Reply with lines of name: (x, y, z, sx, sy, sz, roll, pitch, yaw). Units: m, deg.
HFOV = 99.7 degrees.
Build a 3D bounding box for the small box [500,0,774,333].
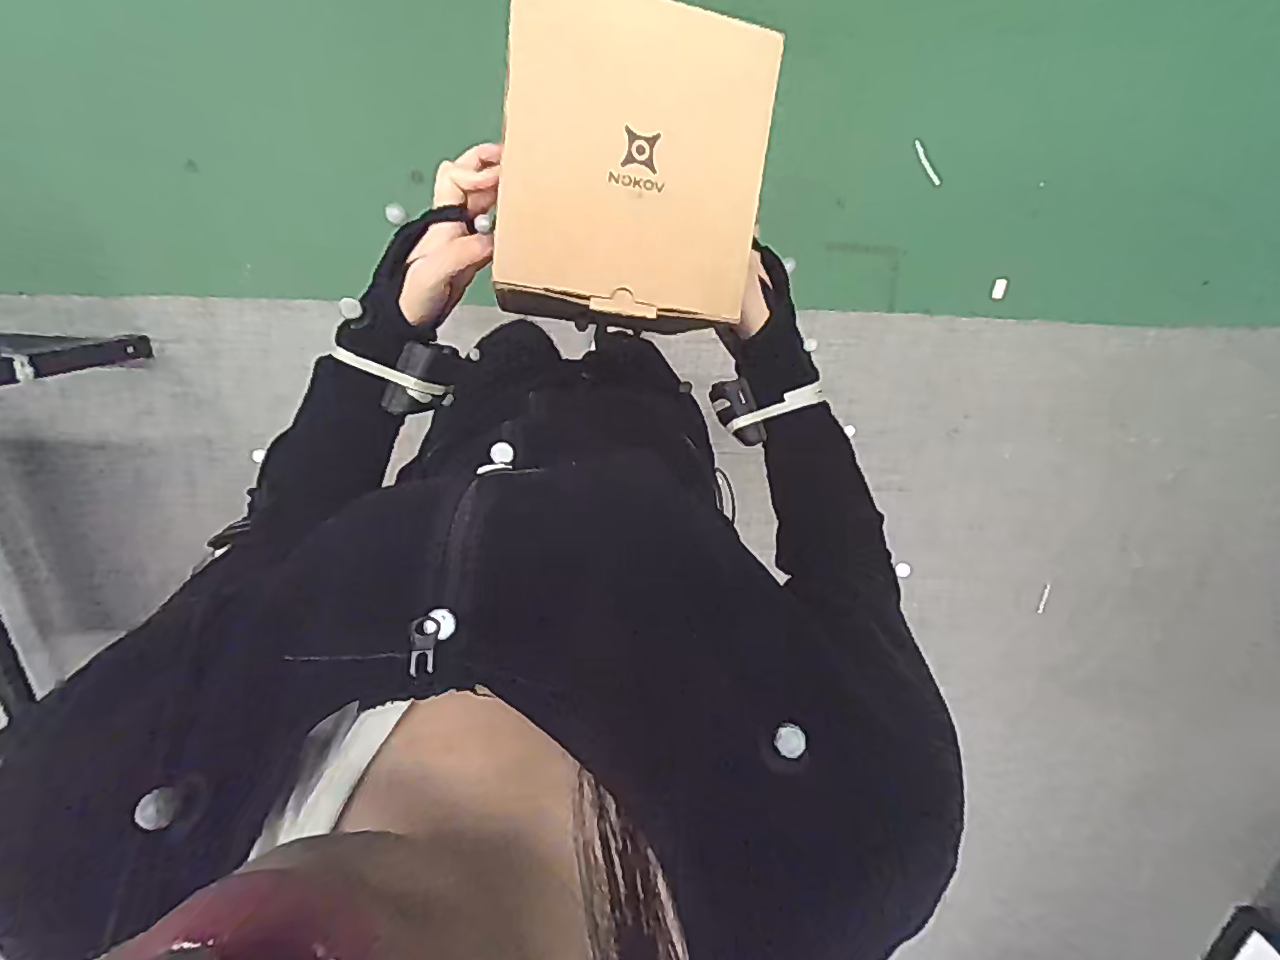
small box: (-0.020, -0.214, 0.418, 0.168, 0.176, 0.179, 3, 102, -15)
